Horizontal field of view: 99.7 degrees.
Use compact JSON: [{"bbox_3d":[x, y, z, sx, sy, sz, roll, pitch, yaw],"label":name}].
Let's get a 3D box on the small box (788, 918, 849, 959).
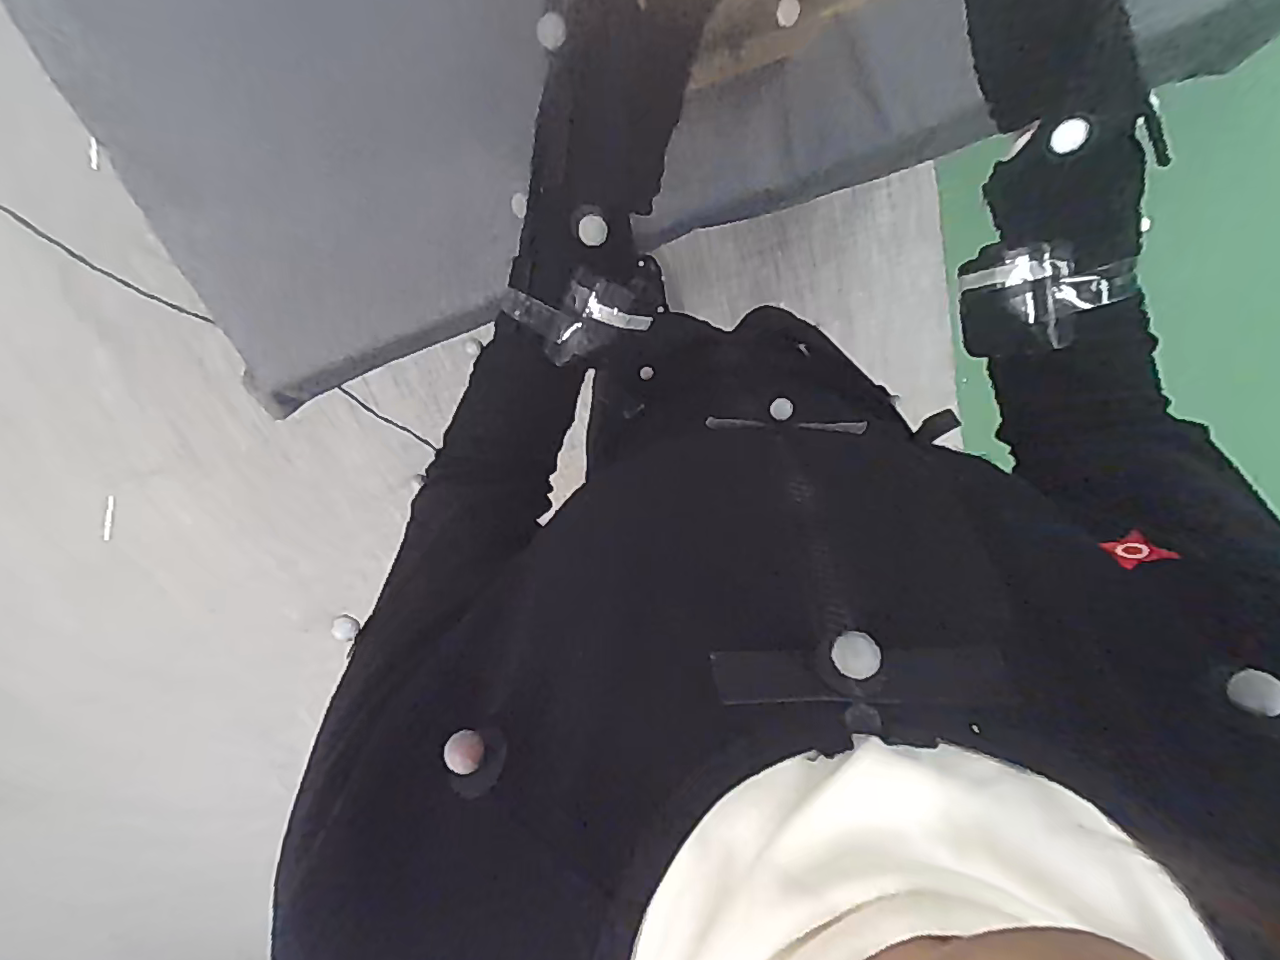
[{"bbox_3d":[0.617,1.637,1.828,0.179,0.176,0.168,-21,112,4],"label":"small box"}]
